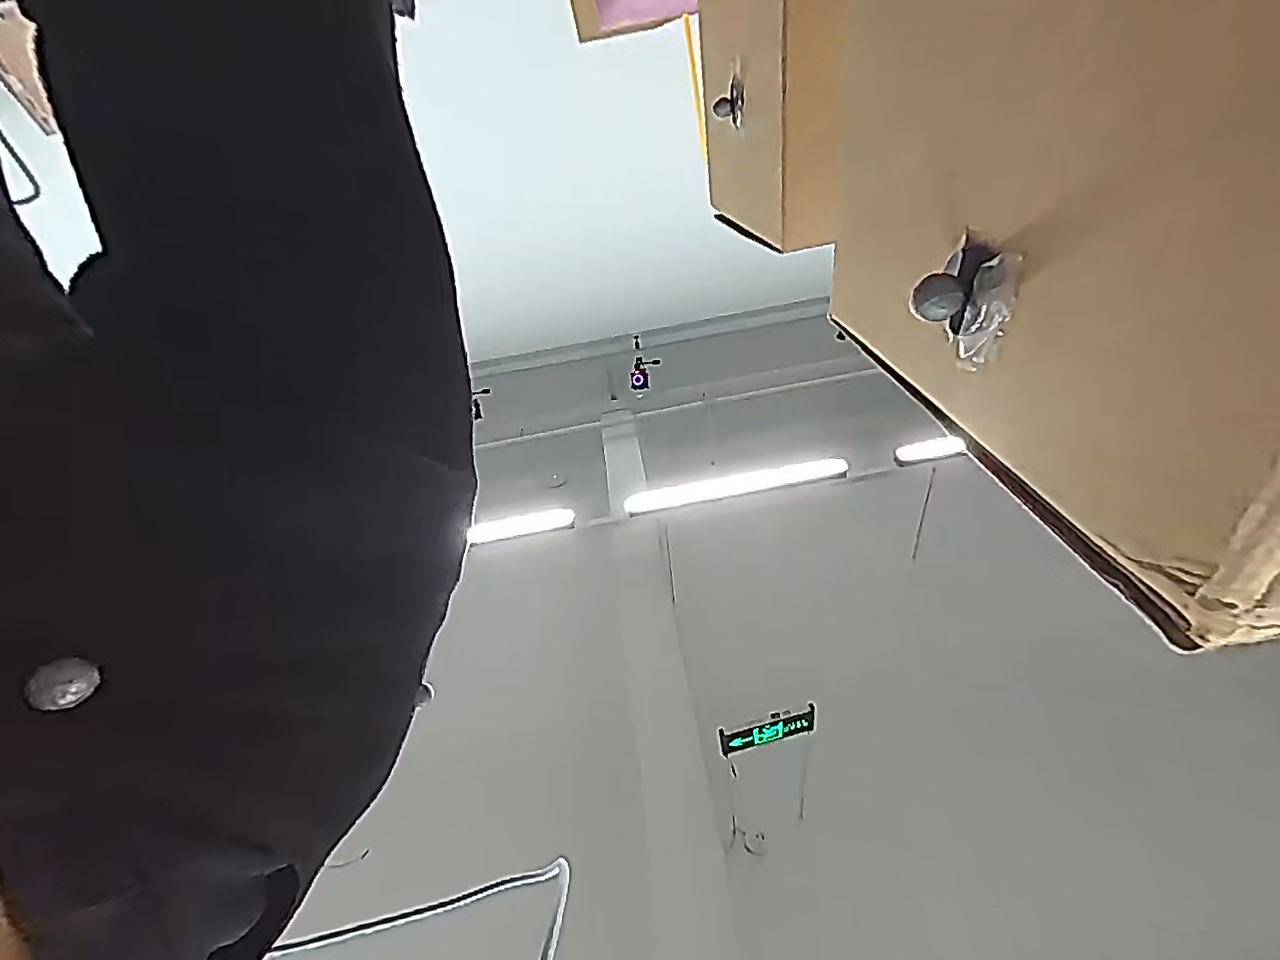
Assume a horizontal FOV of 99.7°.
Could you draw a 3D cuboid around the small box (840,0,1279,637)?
[{"bbox_3d":[0.162,-0.099,0.123,0.168,0.176,0.179,-11,-143,0],"label":"small box"}]
